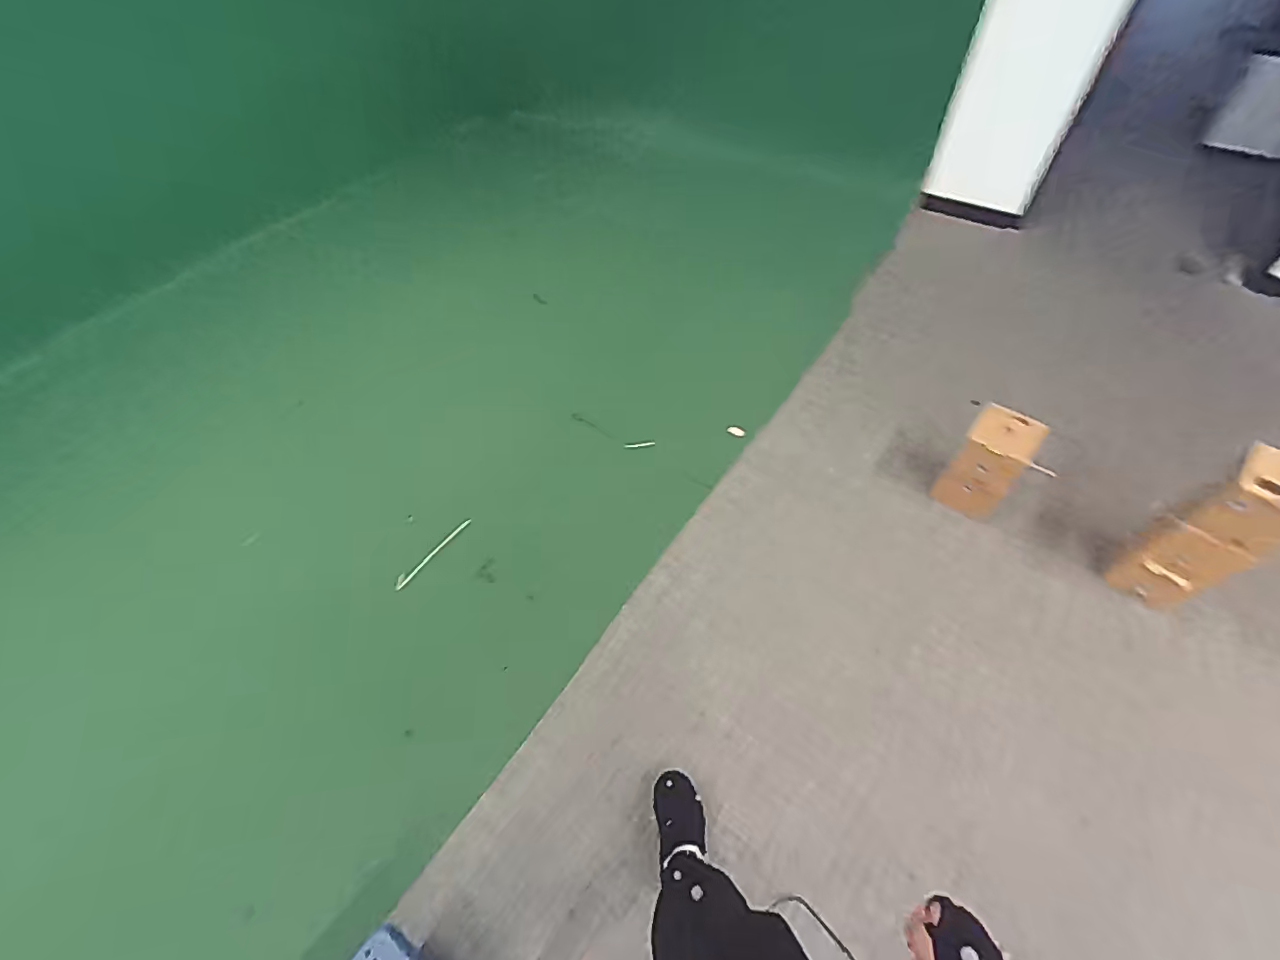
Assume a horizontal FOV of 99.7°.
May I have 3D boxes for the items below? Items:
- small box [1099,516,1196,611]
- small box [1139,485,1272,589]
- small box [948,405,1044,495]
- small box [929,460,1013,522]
[{"bbox_3d":[1.487,0.244,1.563,0.179,0.176,0.168,-39,58,-19],"label":"small box"},{"bbox_3d":[1.484,0.154,1.430,0.168,0.176,0.179,36,65,25],"label":"small box"},{"bbox_3d":[1.066,-0.087,1.635,0.168,0.176,0.179,34,66,25],"label":"small box"},{"bbox_3d":[1.084,0.006,1.768,0.179,0.176,0.168,35,65,25],"label":"small box"}]
